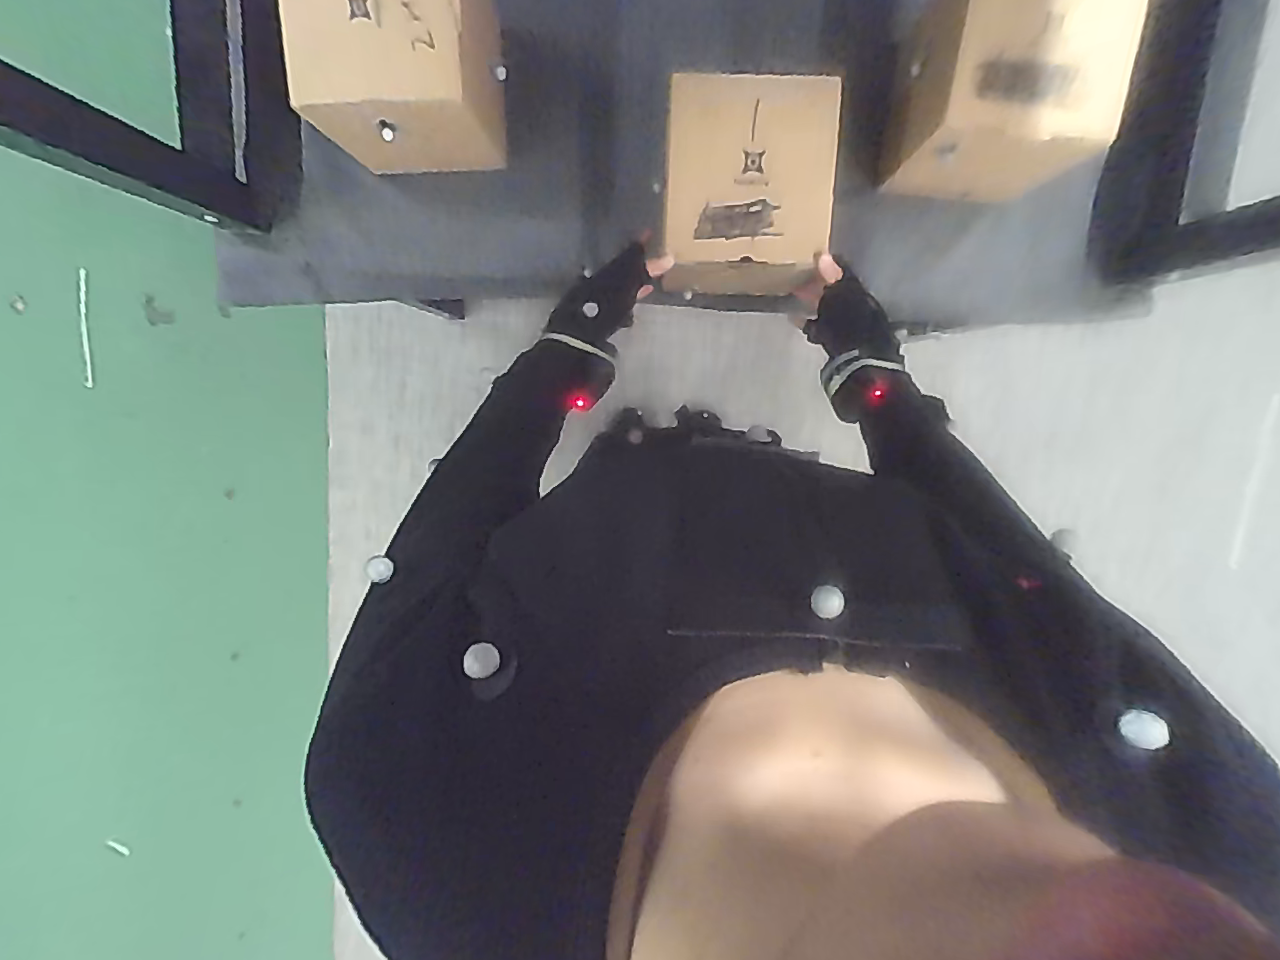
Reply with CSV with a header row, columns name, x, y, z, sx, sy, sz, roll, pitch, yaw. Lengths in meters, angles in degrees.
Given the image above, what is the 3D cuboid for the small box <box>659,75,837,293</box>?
name,x,y,z,sx,sy,sz,roll,pitch,yaw
small box,0.108,-0.316,0.615,0.168,0.176,0.179,2,99,1

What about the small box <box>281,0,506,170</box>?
name,x,y,z,sx,sy,sz,roll,pitch,yaw
small box,-0.259,-0.464,0.601,0.179,0.176,0.168,-1,99,1
